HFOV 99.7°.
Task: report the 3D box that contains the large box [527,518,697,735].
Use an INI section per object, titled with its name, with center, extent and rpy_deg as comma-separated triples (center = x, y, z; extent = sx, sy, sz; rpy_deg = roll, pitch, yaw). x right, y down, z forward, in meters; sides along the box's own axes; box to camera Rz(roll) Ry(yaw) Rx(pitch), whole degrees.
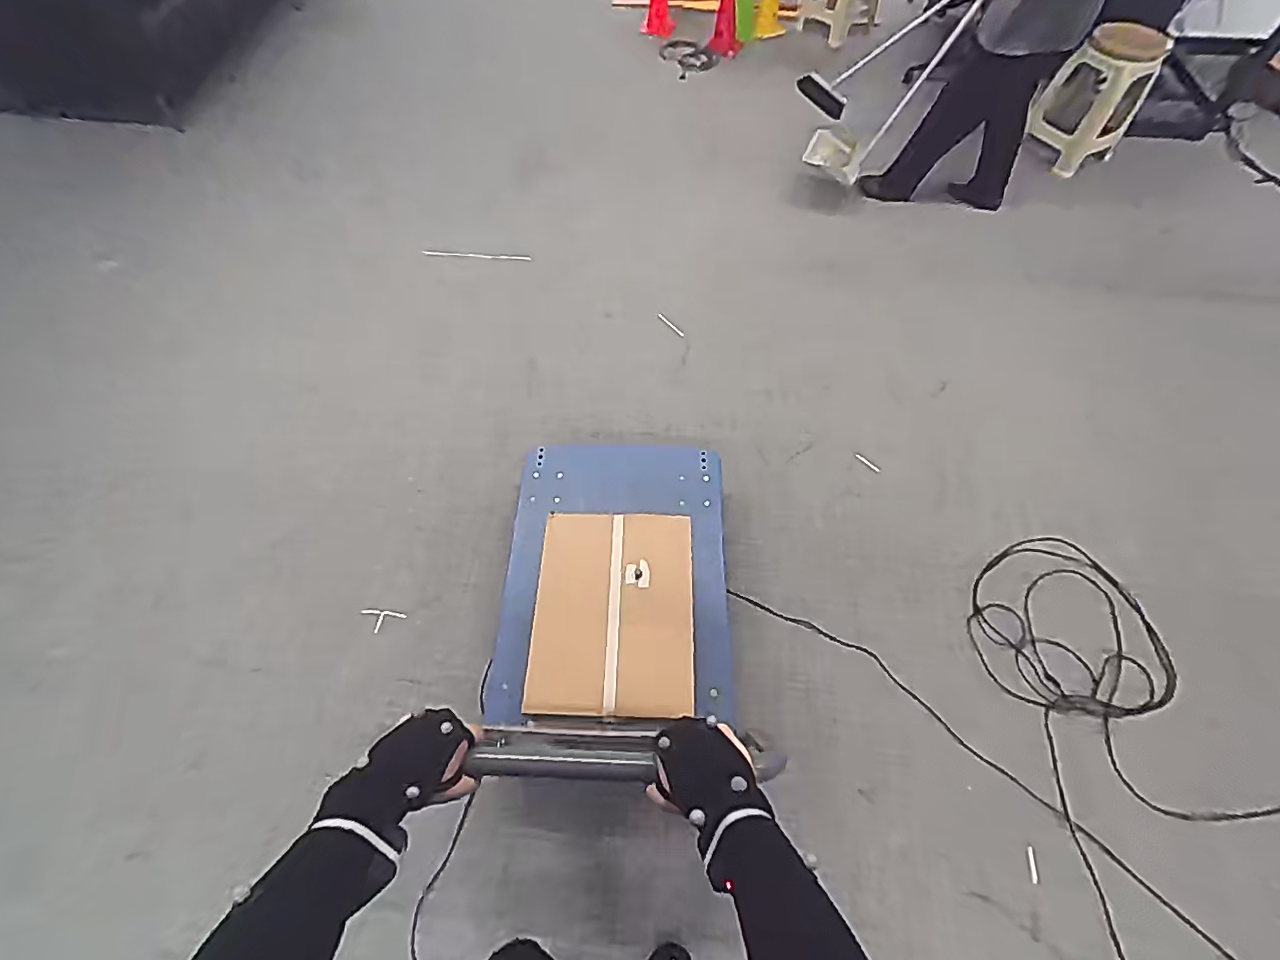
[large box]
center = -0.048, 0.333, 1.200
extent = 0.320, 0.320, 0.408
rpy_deg = 2, 59, 1
